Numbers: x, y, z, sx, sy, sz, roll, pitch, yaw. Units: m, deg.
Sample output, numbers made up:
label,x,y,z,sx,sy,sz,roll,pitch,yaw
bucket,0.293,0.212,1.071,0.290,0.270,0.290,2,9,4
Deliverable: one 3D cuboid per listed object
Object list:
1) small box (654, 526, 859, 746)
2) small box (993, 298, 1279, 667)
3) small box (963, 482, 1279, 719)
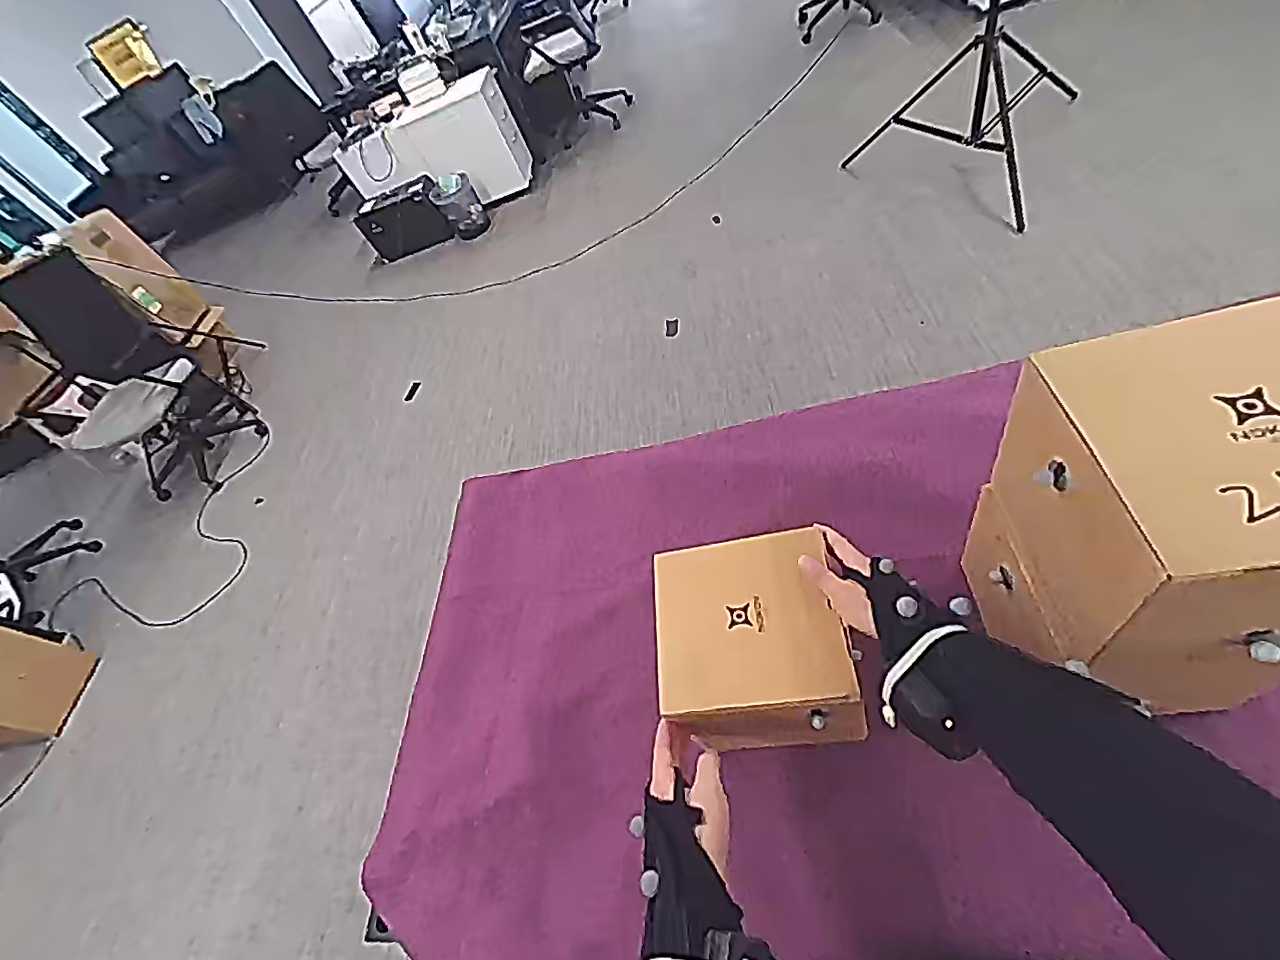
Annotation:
label,x,y,z,sx,sy,sz,roll,pitch,yaw
small box,0.123,0.173,0.574,0.179,0.176,0.168,-12,51,14
small box,0.371,0.010,0.371,0.168,0.176,0.179,-12,52,16
small box,0.420,0.105,0.497,0.168,0.176,0.179,-11,52,16
